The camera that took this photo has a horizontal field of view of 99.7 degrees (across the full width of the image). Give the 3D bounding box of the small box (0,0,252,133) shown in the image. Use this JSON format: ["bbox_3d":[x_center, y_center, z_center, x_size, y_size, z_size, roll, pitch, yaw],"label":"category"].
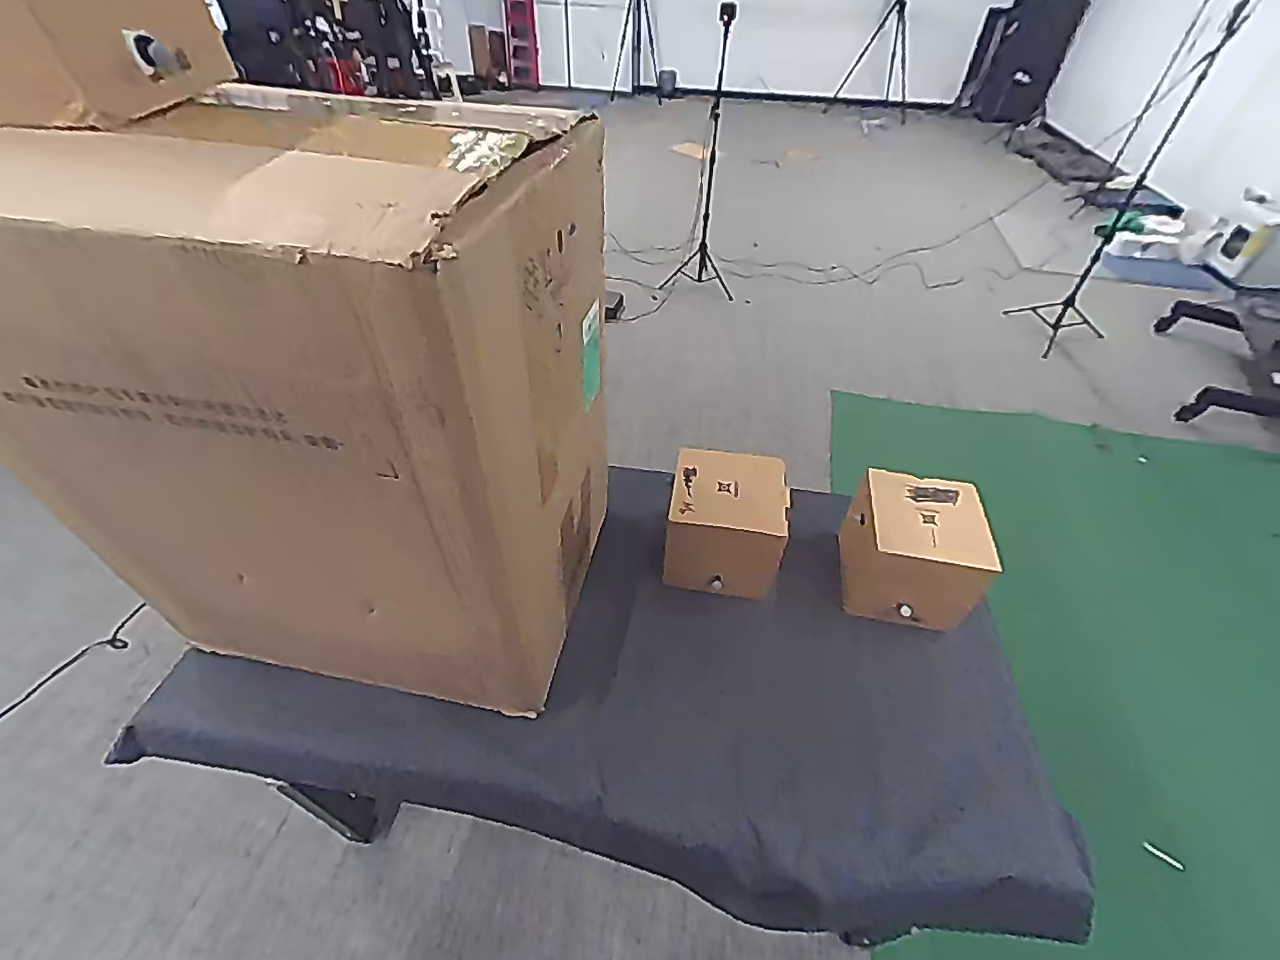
[{"bbox_3d":[-0.461,-0.388,0.416,0.179,0.176,0.168,6,50,2],"label":"small box"}]

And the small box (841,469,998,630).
[{"bbox_3d":[0.430,0.111,0.869,0.168,0.176,0.179,9,46,8],"label":"small box"}]
